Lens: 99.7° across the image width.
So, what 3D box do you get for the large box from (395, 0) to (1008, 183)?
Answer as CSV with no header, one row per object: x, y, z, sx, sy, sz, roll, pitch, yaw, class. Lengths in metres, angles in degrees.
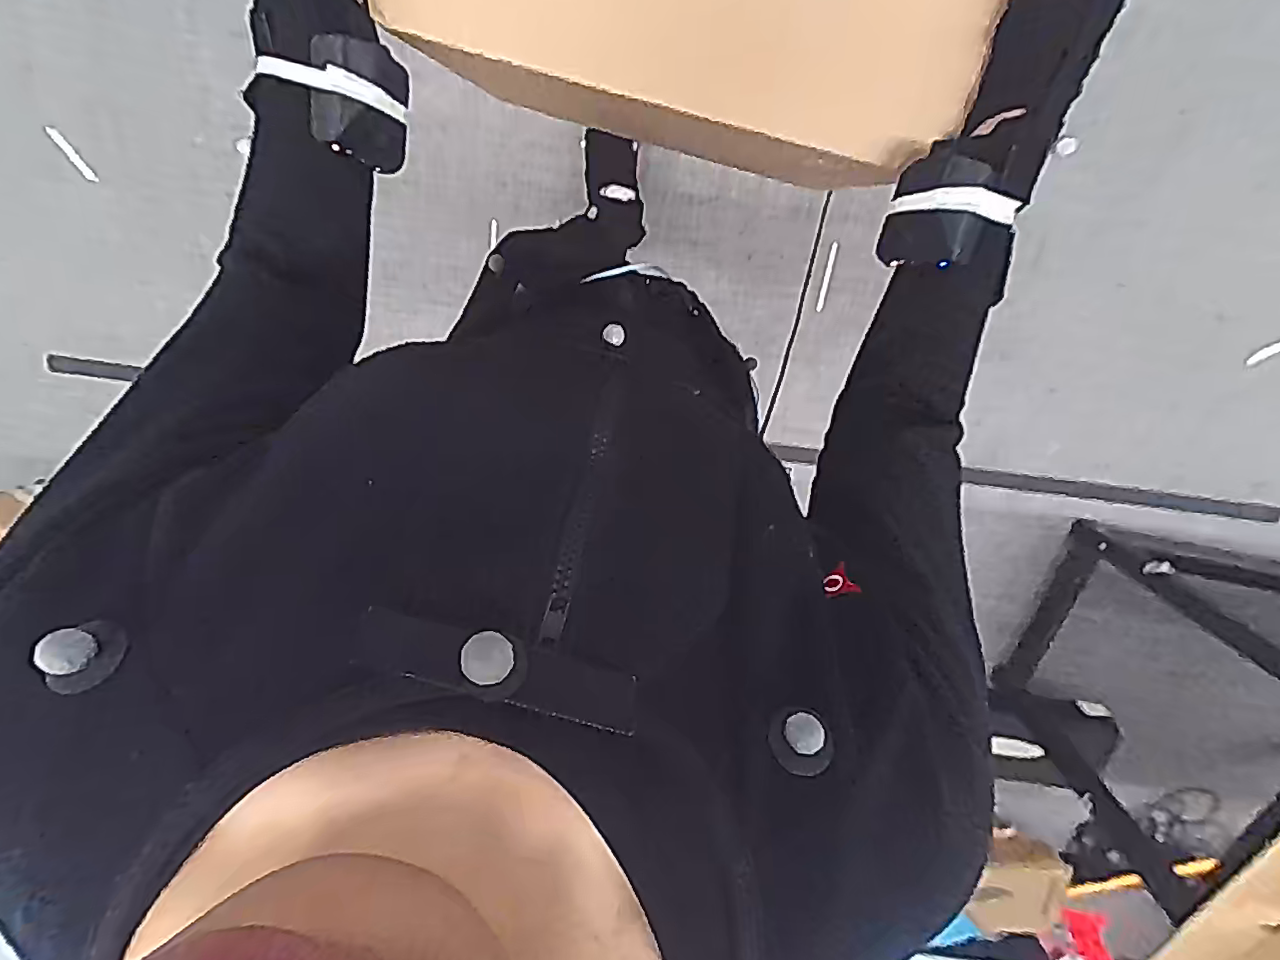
0.060,-0.464,0.445,0.408,0.320,0.320,12,118,-5,large box
